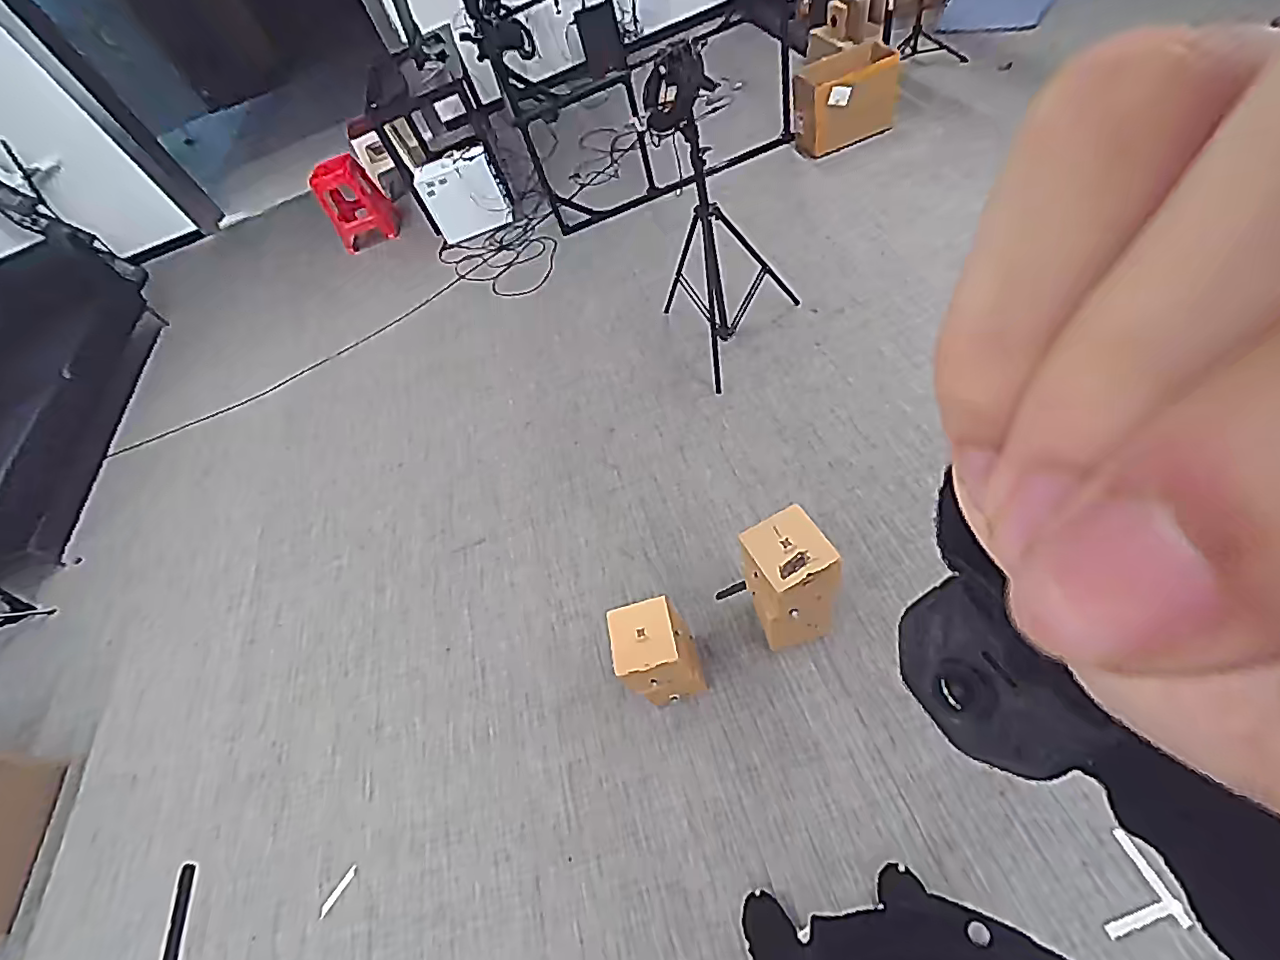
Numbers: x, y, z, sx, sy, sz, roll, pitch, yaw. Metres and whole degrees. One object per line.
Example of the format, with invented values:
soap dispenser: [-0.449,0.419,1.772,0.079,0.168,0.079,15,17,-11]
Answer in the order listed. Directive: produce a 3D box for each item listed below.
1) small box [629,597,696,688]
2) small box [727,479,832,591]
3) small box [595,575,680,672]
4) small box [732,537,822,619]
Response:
small box: [0.046,0.462,1.527,0.168,0.176,0.179,-20,53,4]
small box: [0.323,0.136,1.252,0.168,0.176,0.179,-28,54,-4]
small box: [-0.005,0.375,1.400,0.168,0.176,0.179,-18,54,6]
small box: [0.350,0.227,1.388,0.168,0.176,0.179,-23,53,1]
